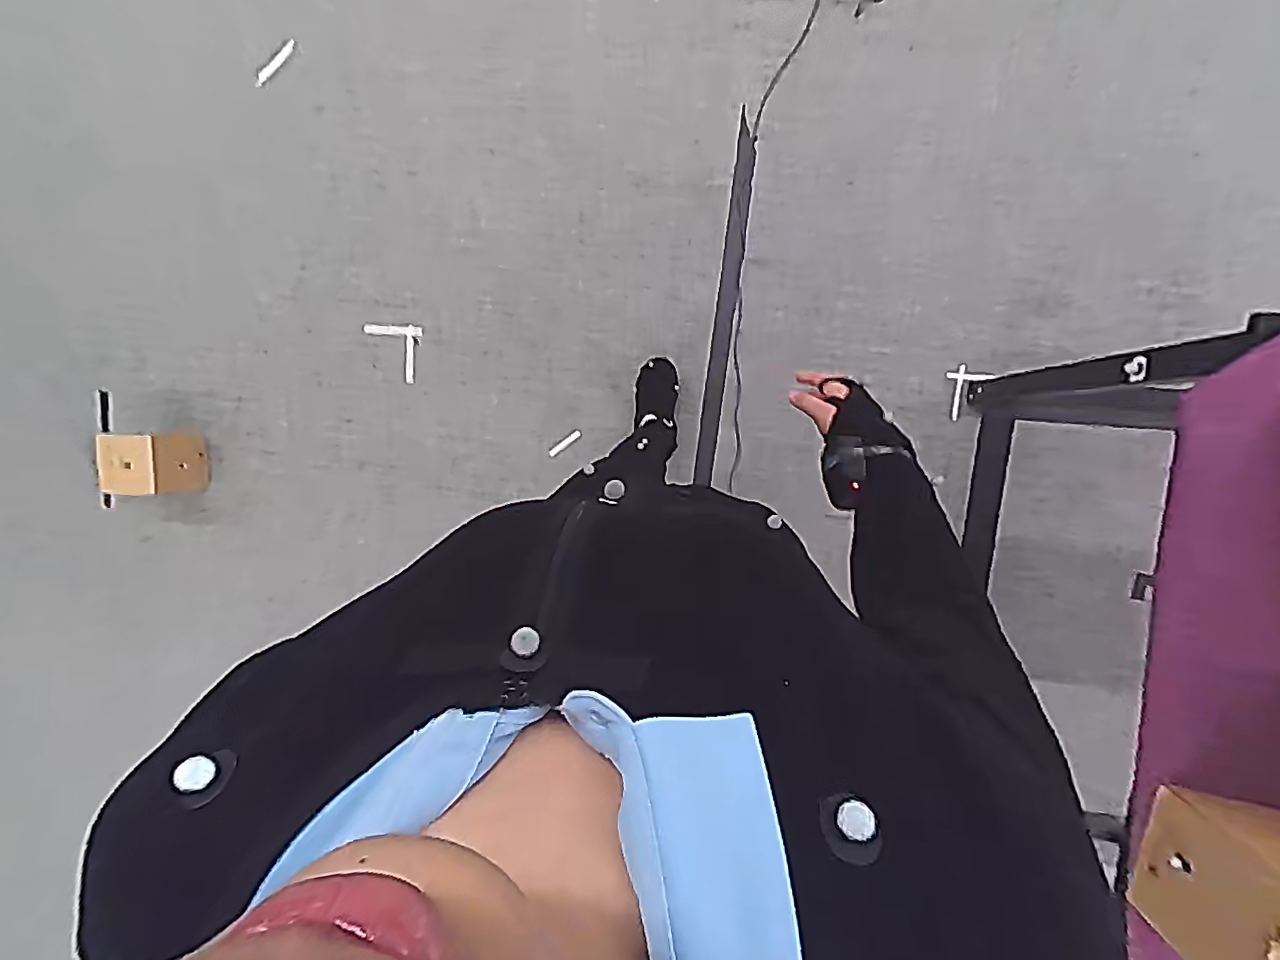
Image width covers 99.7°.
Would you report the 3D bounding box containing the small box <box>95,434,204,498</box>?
[{"bbox_3d":[-1.402,-0.045,1.559,0.179,0.176,0.168,3,96,7],"label":"small box"}]
